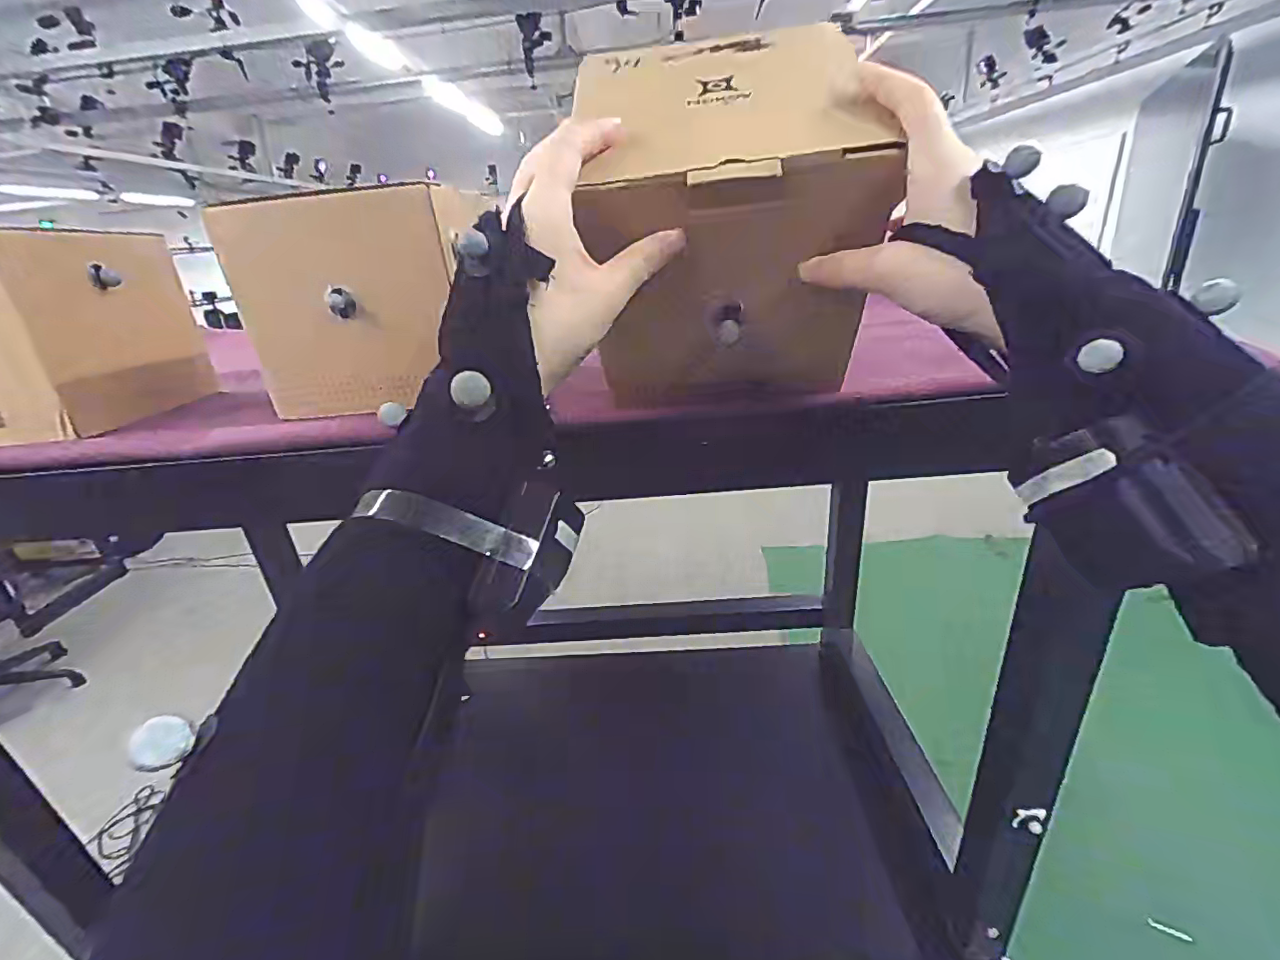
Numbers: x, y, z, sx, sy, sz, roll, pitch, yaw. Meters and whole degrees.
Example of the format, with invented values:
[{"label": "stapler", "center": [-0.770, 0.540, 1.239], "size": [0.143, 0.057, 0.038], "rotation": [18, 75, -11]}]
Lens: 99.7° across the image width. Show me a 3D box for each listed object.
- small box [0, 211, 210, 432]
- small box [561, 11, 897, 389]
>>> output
[{"label": "small box", "center": [-0.549, -0.146, 0.500], "size": [0.168, 0.176, 0.179], "rotation": [-4, 23, 0]}, {"label": "small box", "center": [0.052, -0.177, 0.371], "size": [0.168, 0.176, 0.179], "rotation": [-4, 54, 6]}]
